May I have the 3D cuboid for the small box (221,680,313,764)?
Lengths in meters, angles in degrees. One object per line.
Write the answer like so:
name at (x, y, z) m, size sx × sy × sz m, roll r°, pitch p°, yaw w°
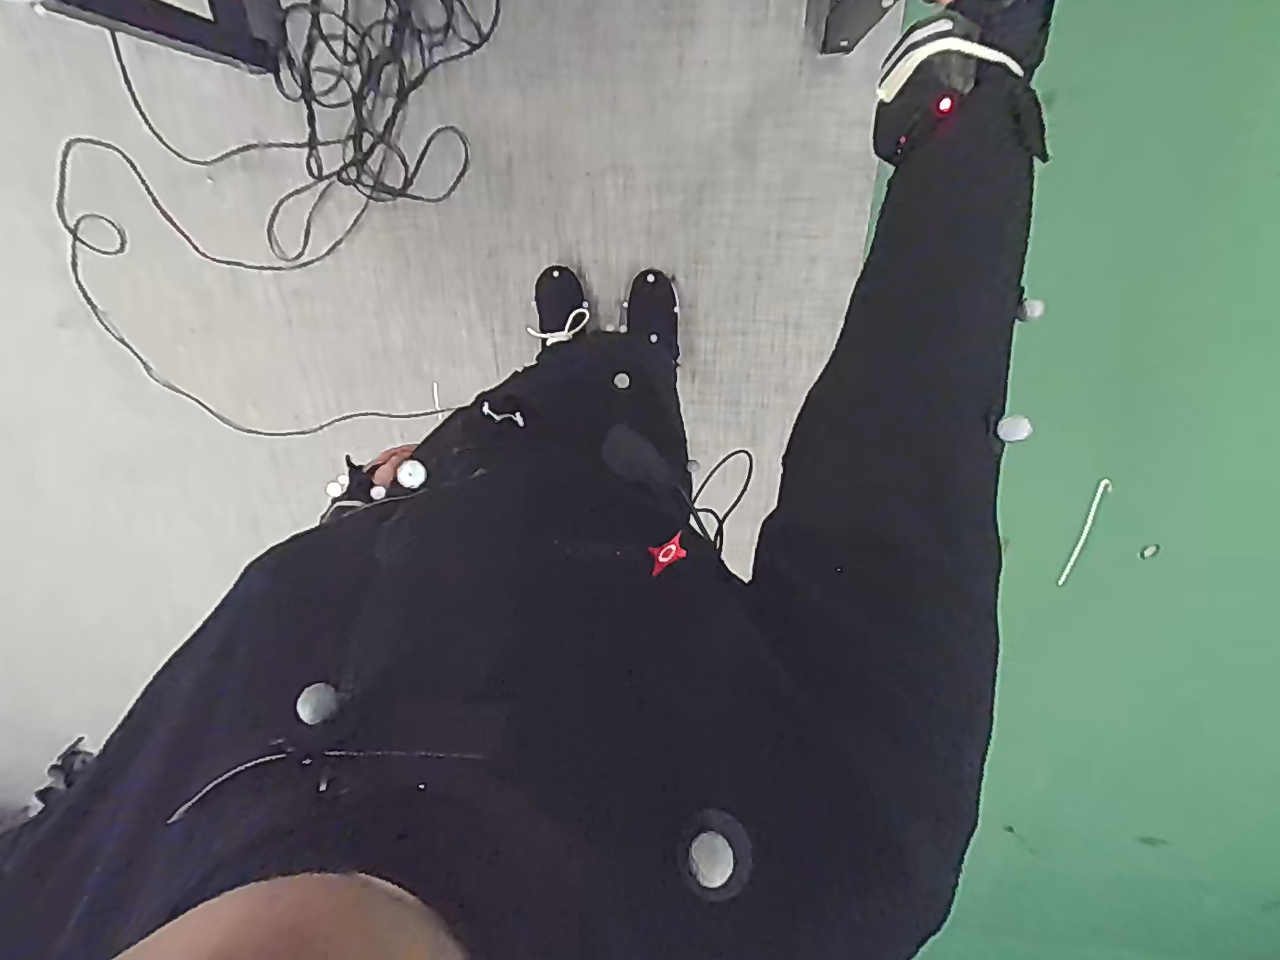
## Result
small box at (-1.282, 0.835, 1.871) m, size 0.179 × 0.176 × 0.168 m, roll -39°, pitch 108°, yaw 21°
